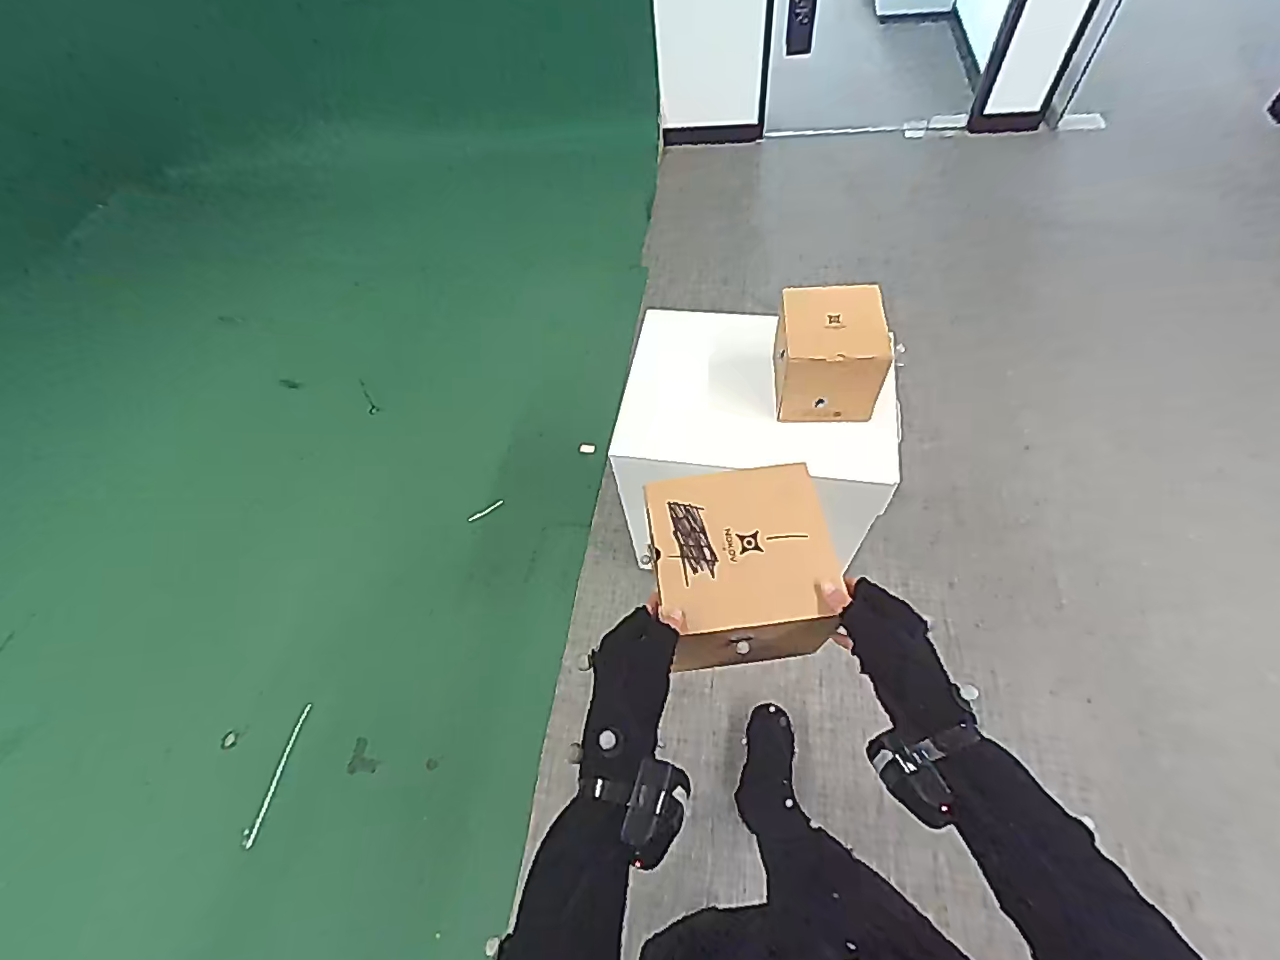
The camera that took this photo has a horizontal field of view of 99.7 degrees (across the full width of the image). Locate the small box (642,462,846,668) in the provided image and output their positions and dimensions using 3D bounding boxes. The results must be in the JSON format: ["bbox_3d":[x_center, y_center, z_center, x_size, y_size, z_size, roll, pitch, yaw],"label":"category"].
[{"bbox_3d":[0.101,0.102,0.601,0.179,0.176,0.168,-7,59,0],"label":"small box"}]

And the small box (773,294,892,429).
[{"bbox_3d":[0.336,-0.212,0.978,0.168,0.176,0.179,0,58,8],"label":"small box"}]
